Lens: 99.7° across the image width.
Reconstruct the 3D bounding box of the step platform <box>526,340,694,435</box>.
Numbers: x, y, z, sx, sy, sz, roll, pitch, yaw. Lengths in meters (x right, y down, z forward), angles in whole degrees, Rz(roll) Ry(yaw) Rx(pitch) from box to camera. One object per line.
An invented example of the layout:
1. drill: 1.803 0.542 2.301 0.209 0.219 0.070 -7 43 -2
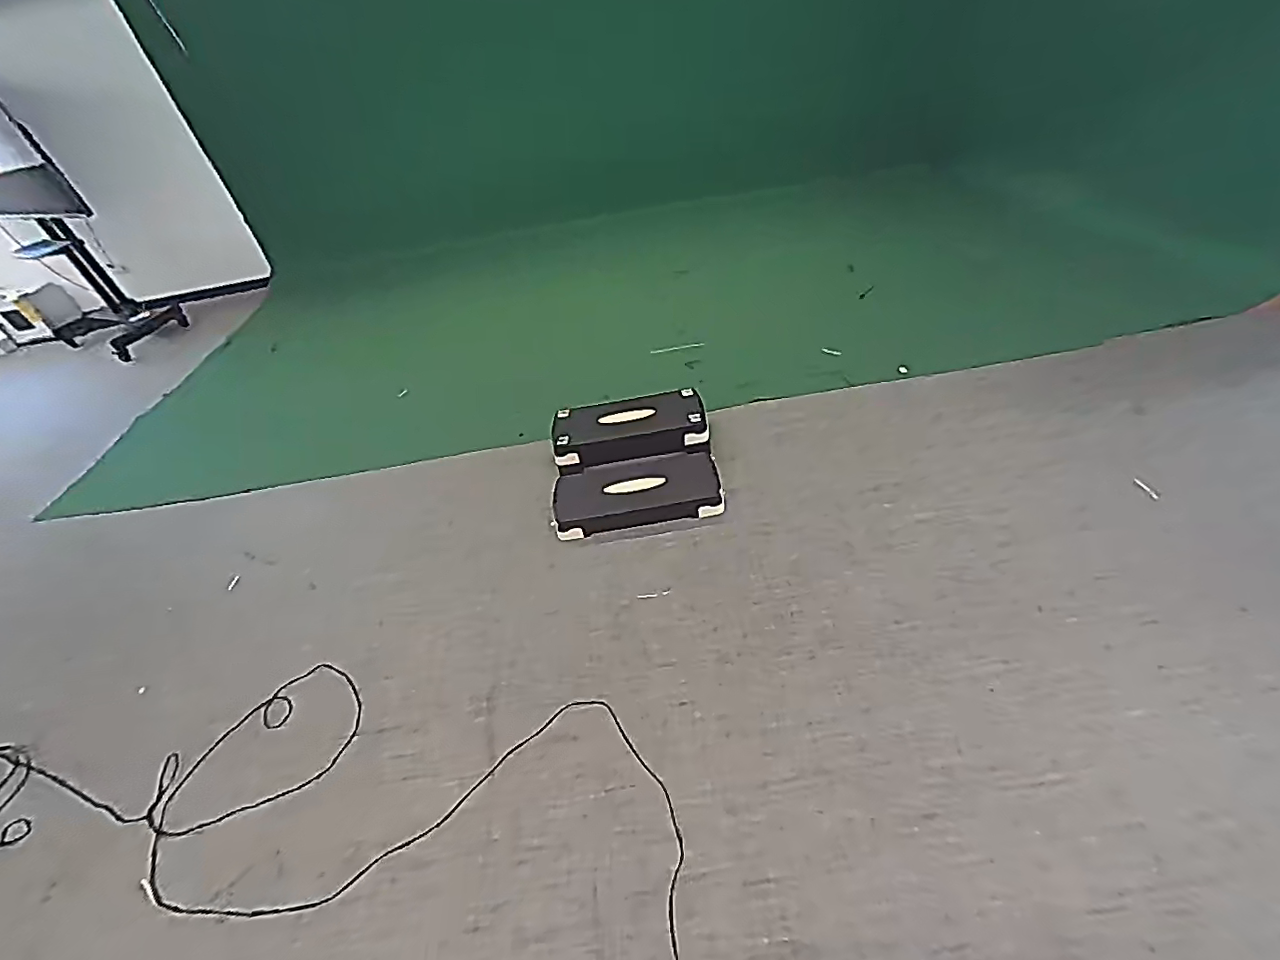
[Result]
1. step platform: -0.117 -0.388 2.265 0.684 0.204 0.286 -10 43 2
